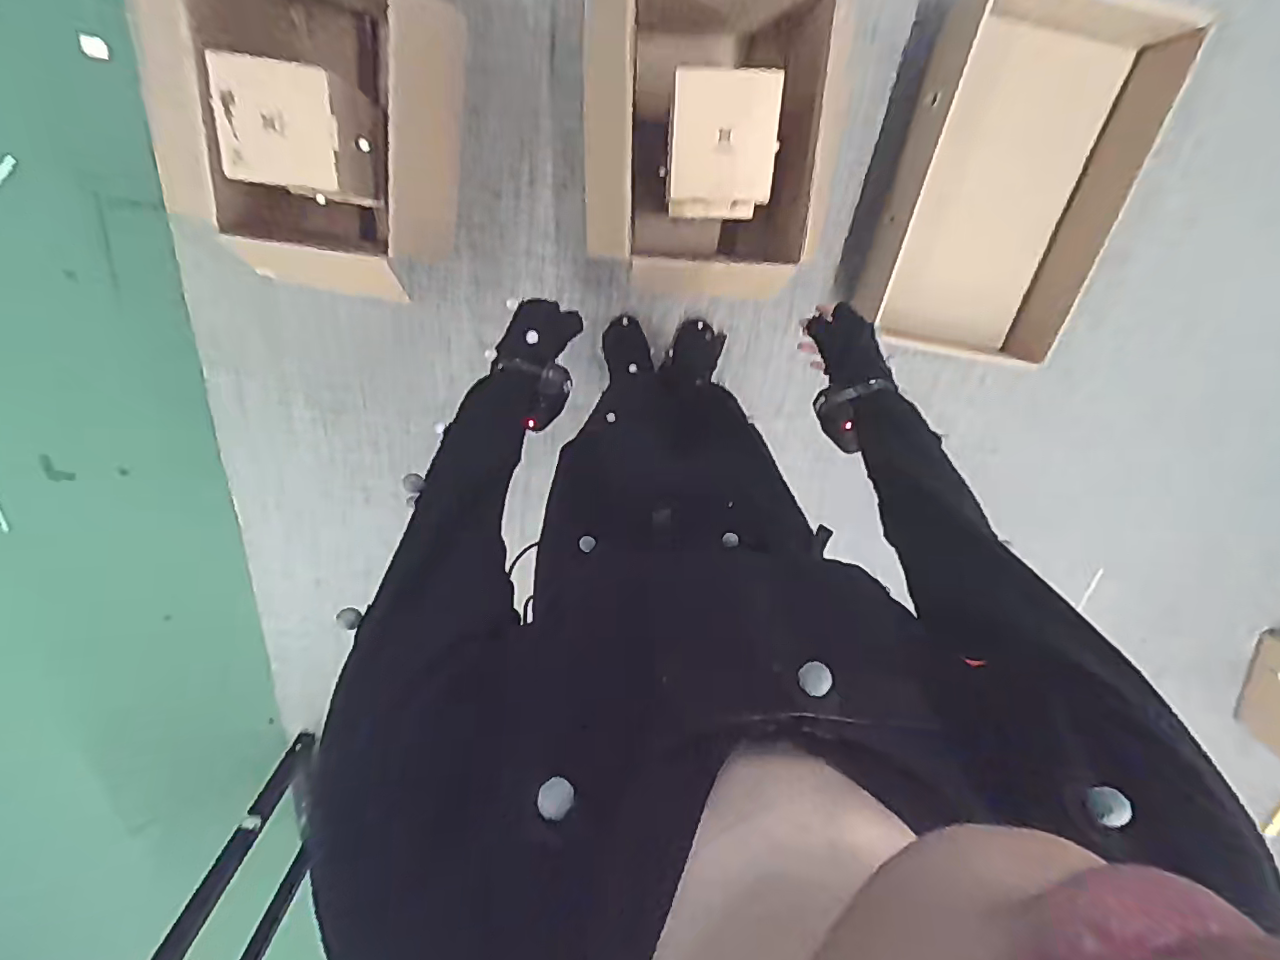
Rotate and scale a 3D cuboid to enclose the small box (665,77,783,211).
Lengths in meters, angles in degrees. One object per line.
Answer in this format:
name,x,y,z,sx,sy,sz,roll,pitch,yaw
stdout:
small box,0.131,-0.559,0.921,0.168,0.176,0.179,1,116,-2
